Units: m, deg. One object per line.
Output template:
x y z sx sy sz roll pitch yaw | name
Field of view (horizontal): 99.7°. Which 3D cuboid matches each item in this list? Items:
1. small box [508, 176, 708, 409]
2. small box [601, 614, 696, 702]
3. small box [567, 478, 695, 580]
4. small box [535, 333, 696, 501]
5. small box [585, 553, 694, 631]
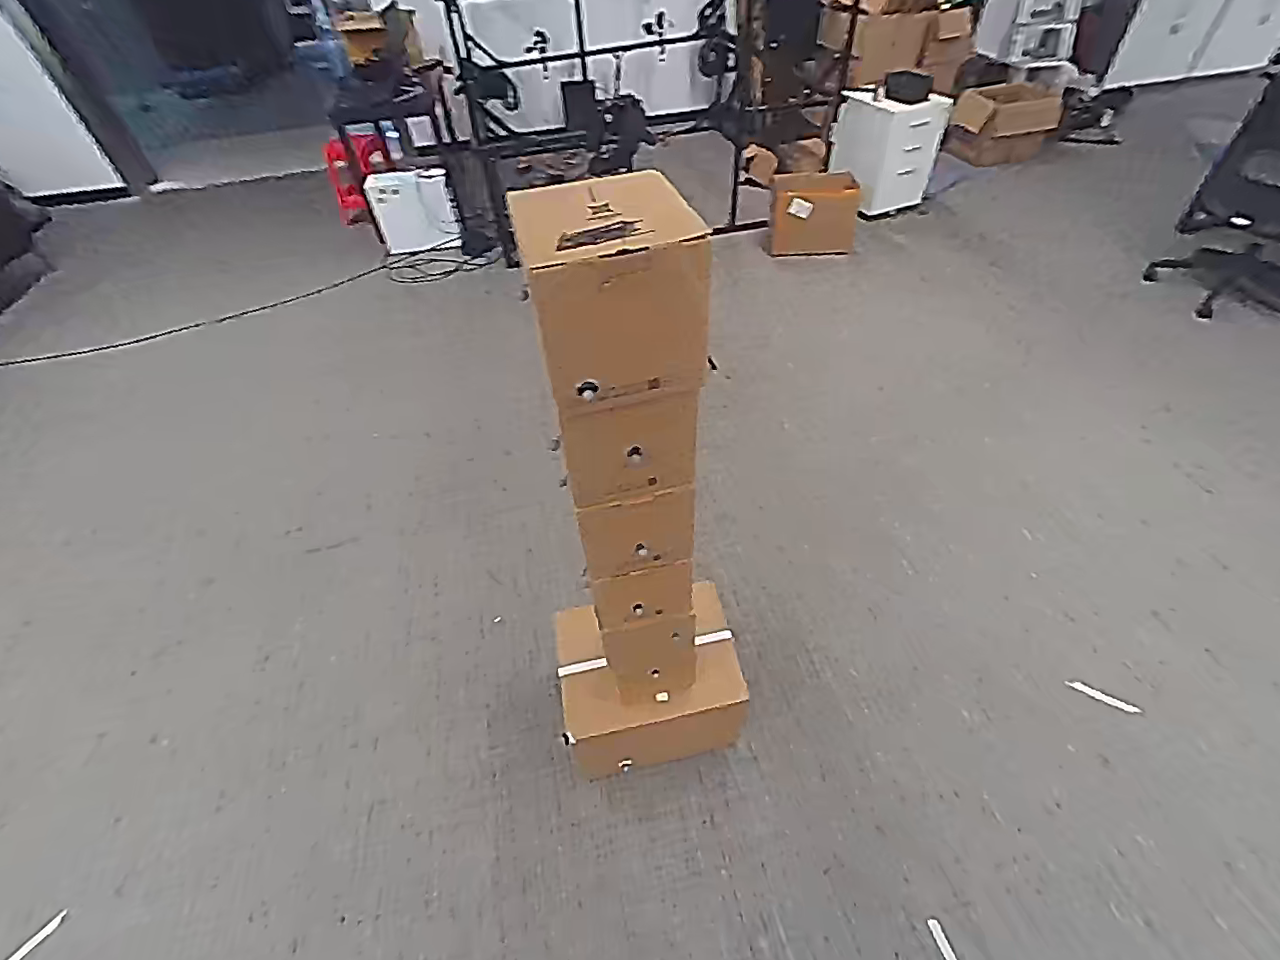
-0.033 -0.193 0.577 0.168 0.176 0.179 -14 49 -8 | small box
0.016 0.361 1.179 0.179 0.176 0.168 -12 49 -8 | small box
-0.022 0.023 0.825 0.168 0.176 0.179 -13 49 -7 | small box
-0.031 -0.090 0.707 0.168 0.176 0.179 -13 50 -8 | small box
-0.012 0.136 0.944 0.168 0.176 0.179 -12 49 -7 | small box
